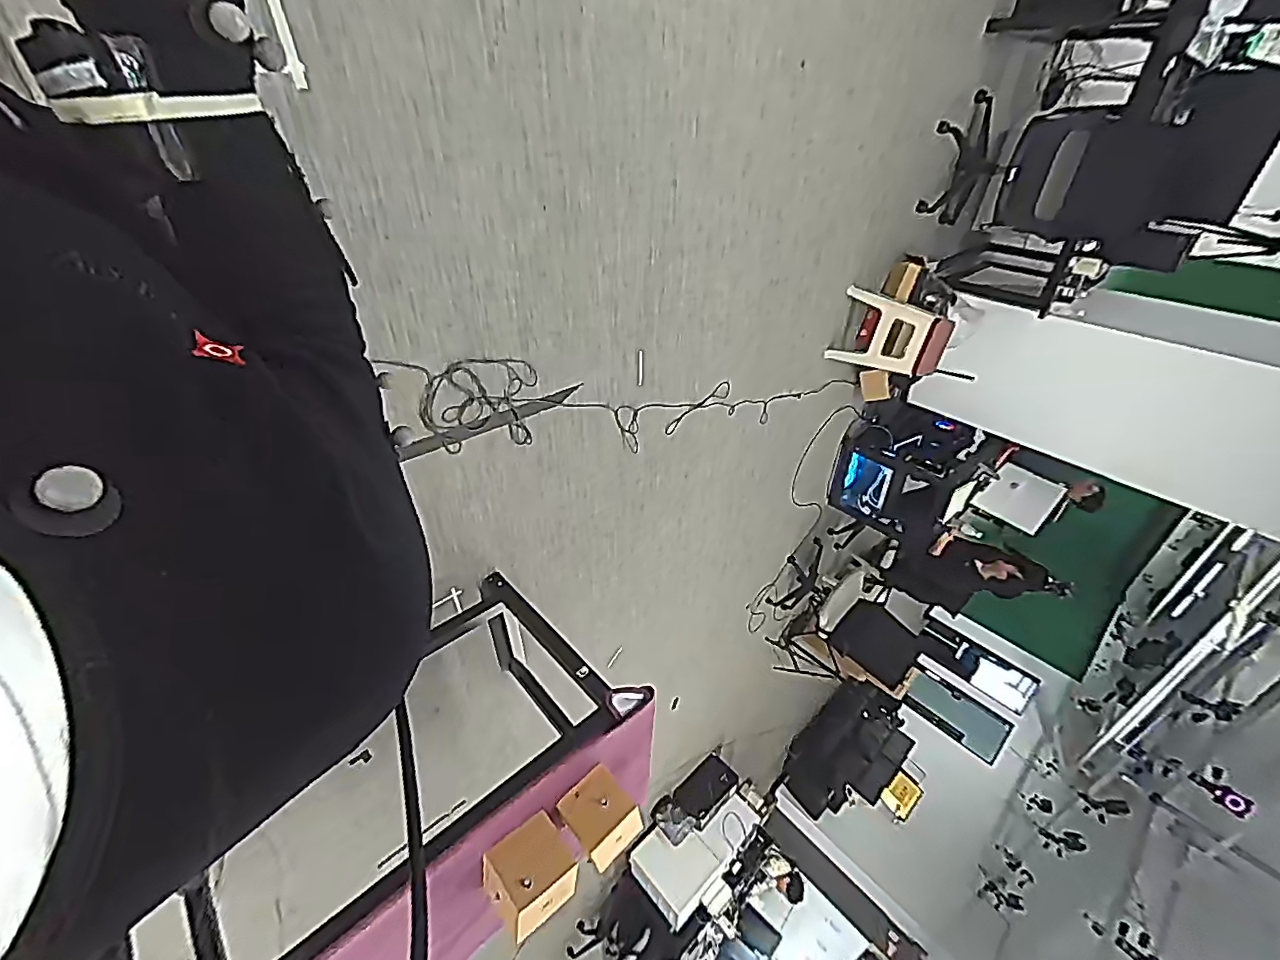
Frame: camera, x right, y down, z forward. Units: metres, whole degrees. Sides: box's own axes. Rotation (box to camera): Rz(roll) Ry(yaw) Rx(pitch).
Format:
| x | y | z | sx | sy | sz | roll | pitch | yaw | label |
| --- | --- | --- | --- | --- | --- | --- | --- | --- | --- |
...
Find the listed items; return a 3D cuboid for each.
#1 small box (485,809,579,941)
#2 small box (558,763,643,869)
| x | y | z | sx | sy | sz | roll | pitch | yaw | label |
| --- | --- | --- | --- | --- | --- | --- | --- | --- | --- |
| -0.281 | 0.996 | 1.377 | 0.179 | 0.176 | 0.168 | -19 | 130 | -40 | small box |
| -0.113 | 0.941 | 1.528 | 0.168 | 0.176 | 0.179 | -34 | 137 | -28 | small box |
